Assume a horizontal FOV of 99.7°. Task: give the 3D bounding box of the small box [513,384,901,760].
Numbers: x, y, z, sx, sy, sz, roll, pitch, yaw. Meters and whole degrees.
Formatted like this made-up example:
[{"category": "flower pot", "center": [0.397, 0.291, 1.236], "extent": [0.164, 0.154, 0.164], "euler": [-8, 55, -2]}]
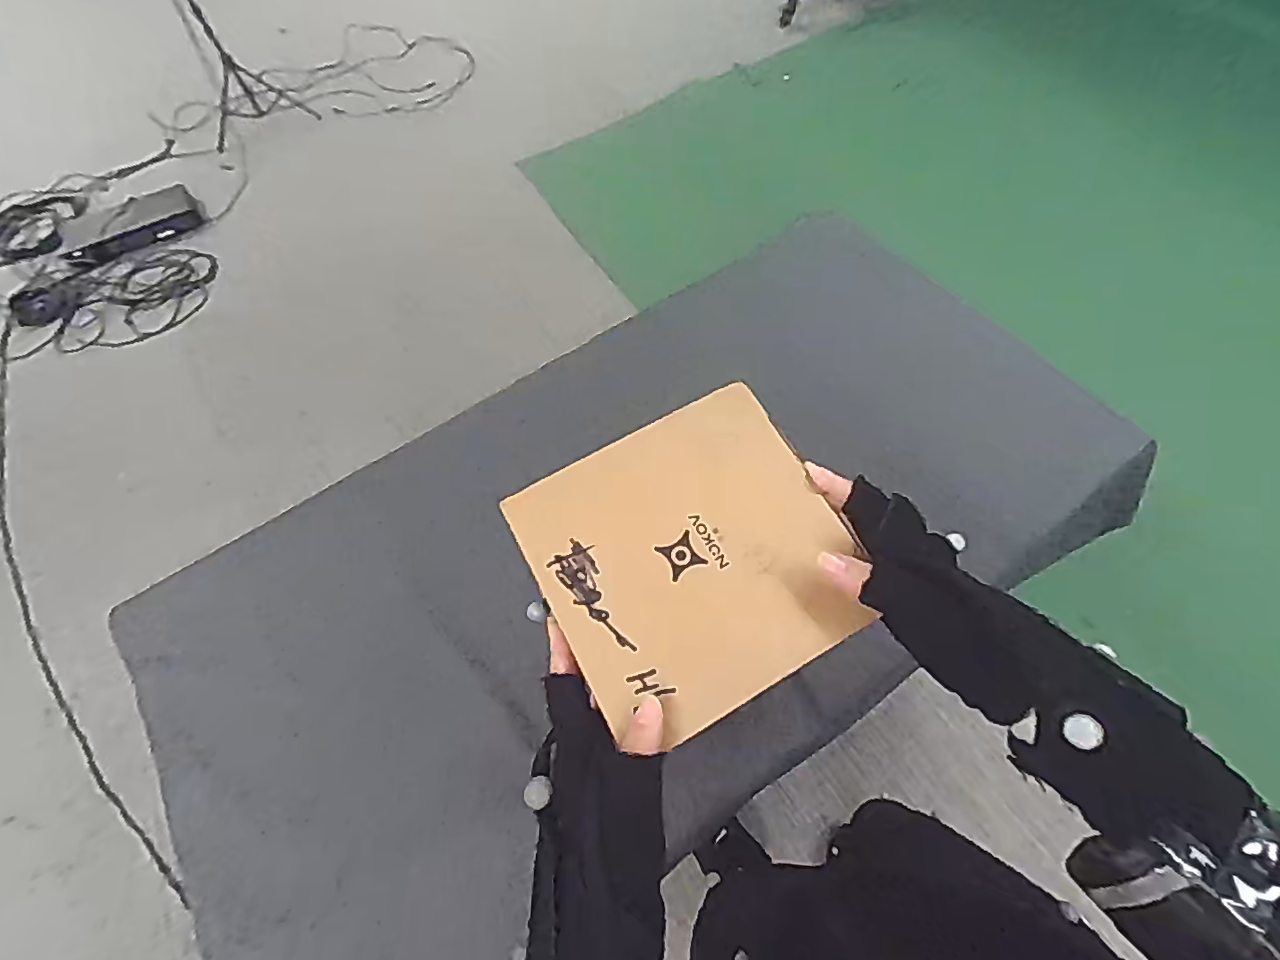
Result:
[{"category": "small box", "center": [0.033, 0.068, 0.386], "extent": [0.179, 0.176, 0.168], "euler": [-26, 70, -11]}]
